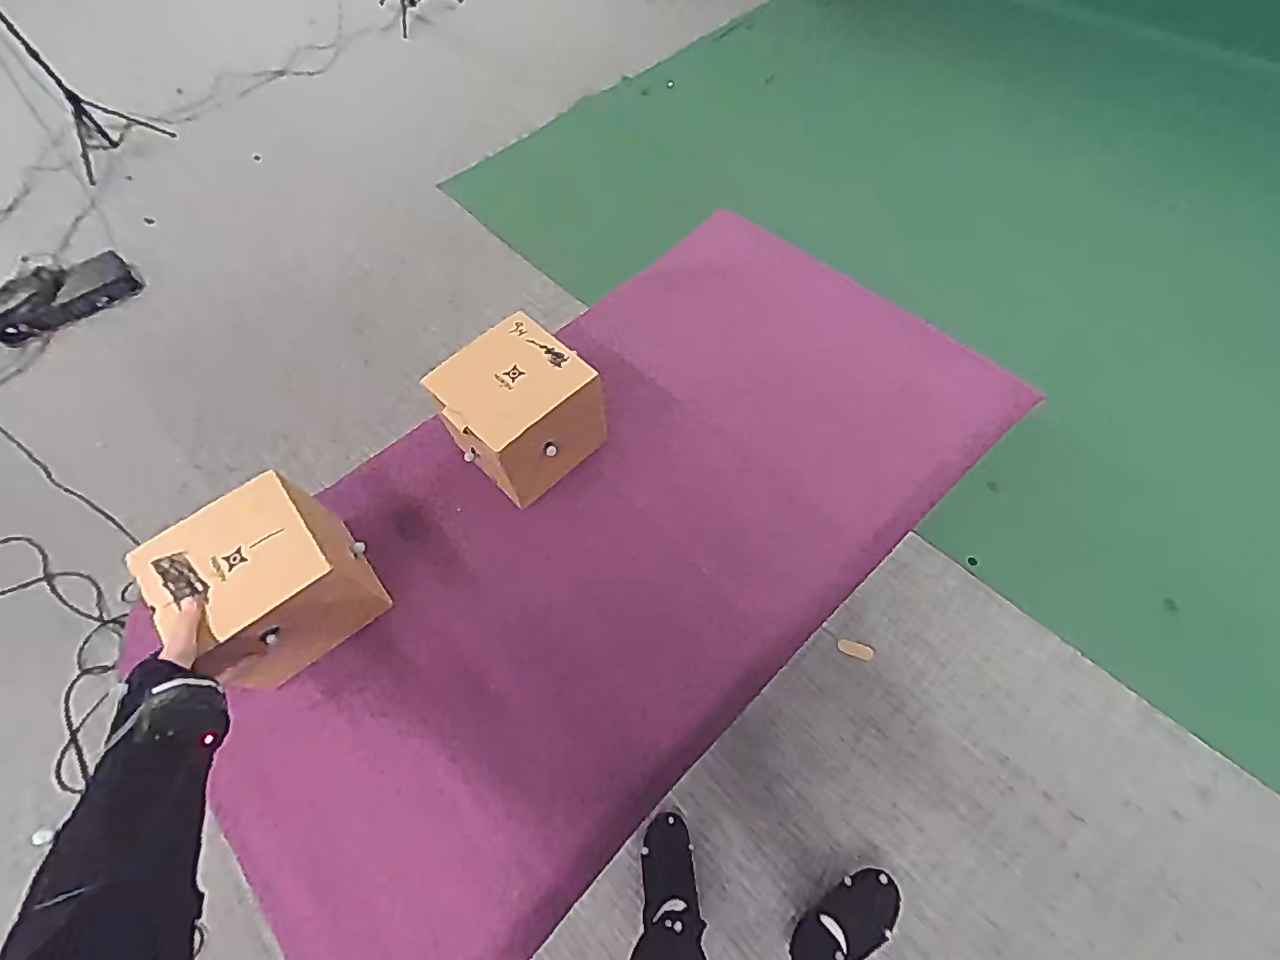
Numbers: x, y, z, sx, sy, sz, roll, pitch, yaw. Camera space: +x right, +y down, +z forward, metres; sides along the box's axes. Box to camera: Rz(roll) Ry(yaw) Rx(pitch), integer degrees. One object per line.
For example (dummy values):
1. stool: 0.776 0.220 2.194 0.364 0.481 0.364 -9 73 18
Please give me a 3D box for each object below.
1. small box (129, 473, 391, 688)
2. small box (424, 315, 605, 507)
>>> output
1. small box: -0.448 0.131 0.663 0.179 0.176 0.168 -37 69 -17
2. small box: -0.166 -0.091 0.777 0.168 0.176 0.179 41 71 19
